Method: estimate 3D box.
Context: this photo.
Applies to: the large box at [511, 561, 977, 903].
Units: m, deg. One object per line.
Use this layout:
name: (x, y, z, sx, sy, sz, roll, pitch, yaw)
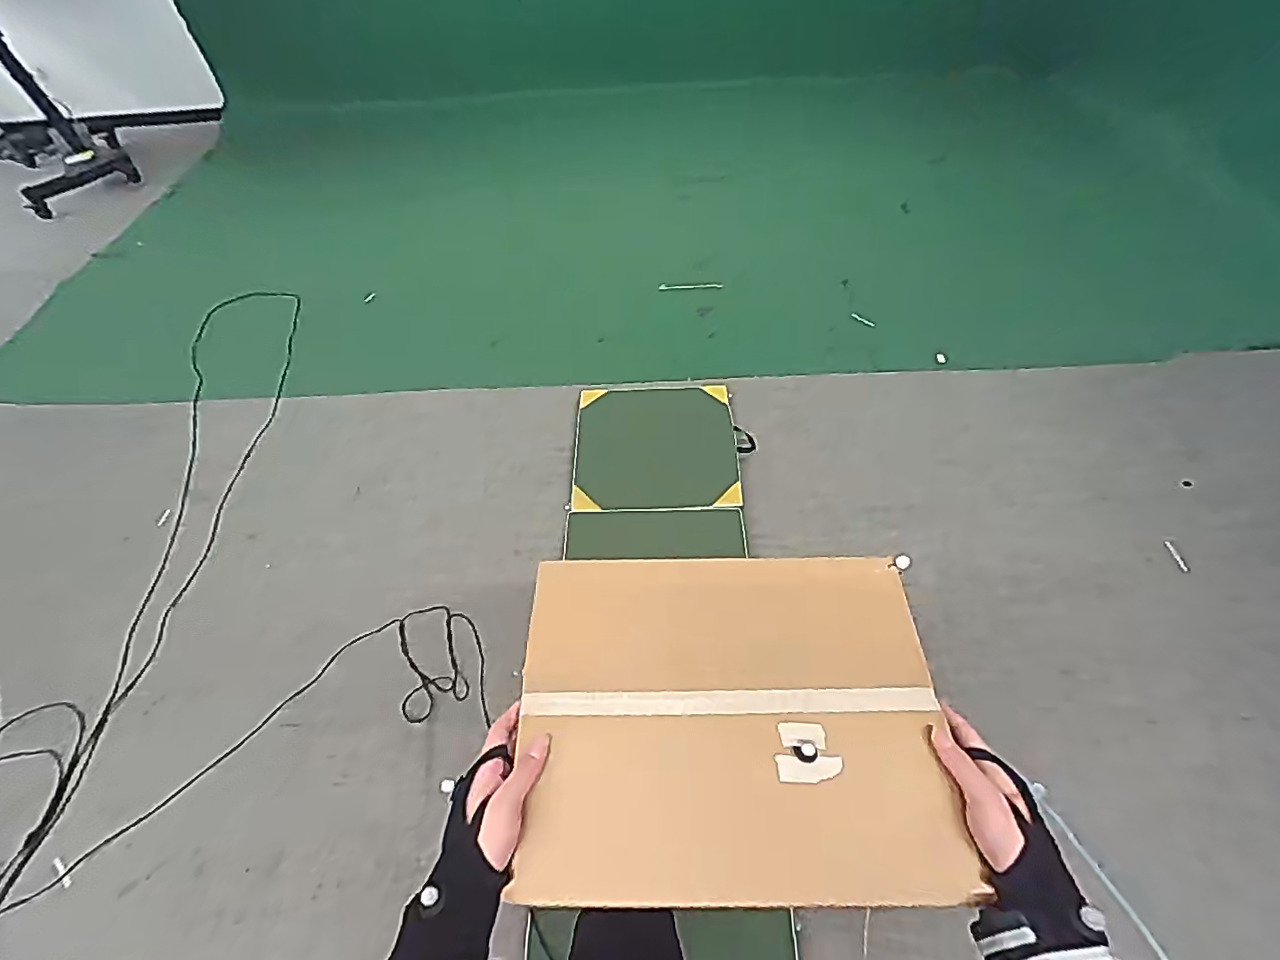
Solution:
large box: (0.086, 0.311, 0.660, 0.408, 0.320, 0.320, -1, 54, 1)
